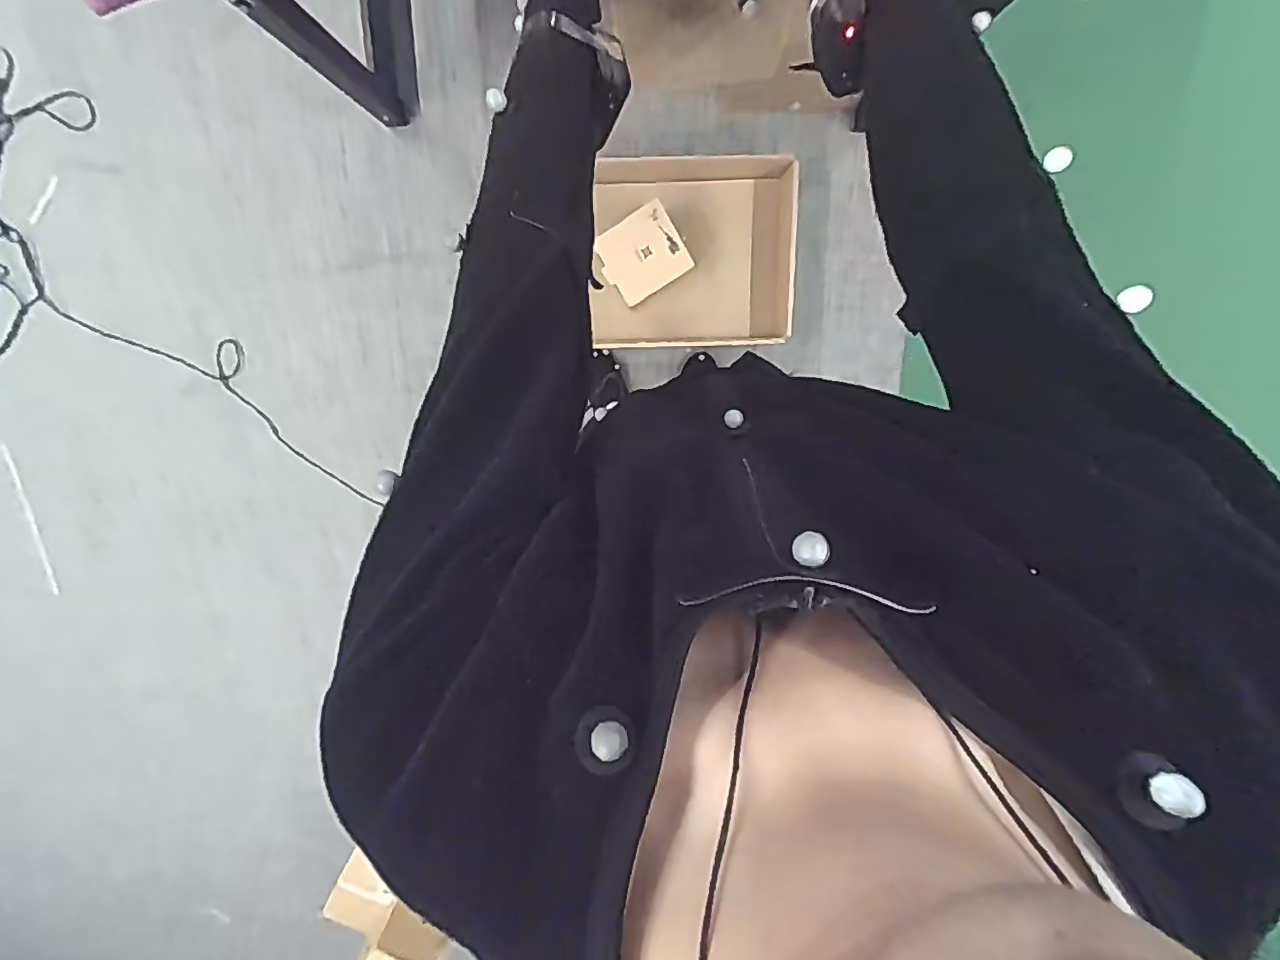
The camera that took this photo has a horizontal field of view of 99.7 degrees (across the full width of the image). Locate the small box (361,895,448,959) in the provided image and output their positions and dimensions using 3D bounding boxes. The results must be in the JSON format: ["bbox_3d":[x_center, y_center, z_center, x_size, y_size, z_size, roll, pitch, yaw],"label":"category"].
[{"bbox_3d":[-0.651,1.294,1.469,0.168,0.176,0.179,33,104,-6],"label":"small box"}]

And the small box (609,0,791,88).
[{"bbox_3d":[0.054,-0.525,0.529,0.179,0.176,0.168,-5,96,3],"label":"small box"}]

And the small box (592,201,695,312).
[{"bbox_3d":[0.013,-0.506,1.257,0.179,0.176,0.168,-30,101,9],"label":"small box"}]

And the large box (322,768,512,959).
[{"bbox_3d":[-0.677,1.205,1.699,0.408,0.320,0.320,29,103,-4],"label":"large box"}]
